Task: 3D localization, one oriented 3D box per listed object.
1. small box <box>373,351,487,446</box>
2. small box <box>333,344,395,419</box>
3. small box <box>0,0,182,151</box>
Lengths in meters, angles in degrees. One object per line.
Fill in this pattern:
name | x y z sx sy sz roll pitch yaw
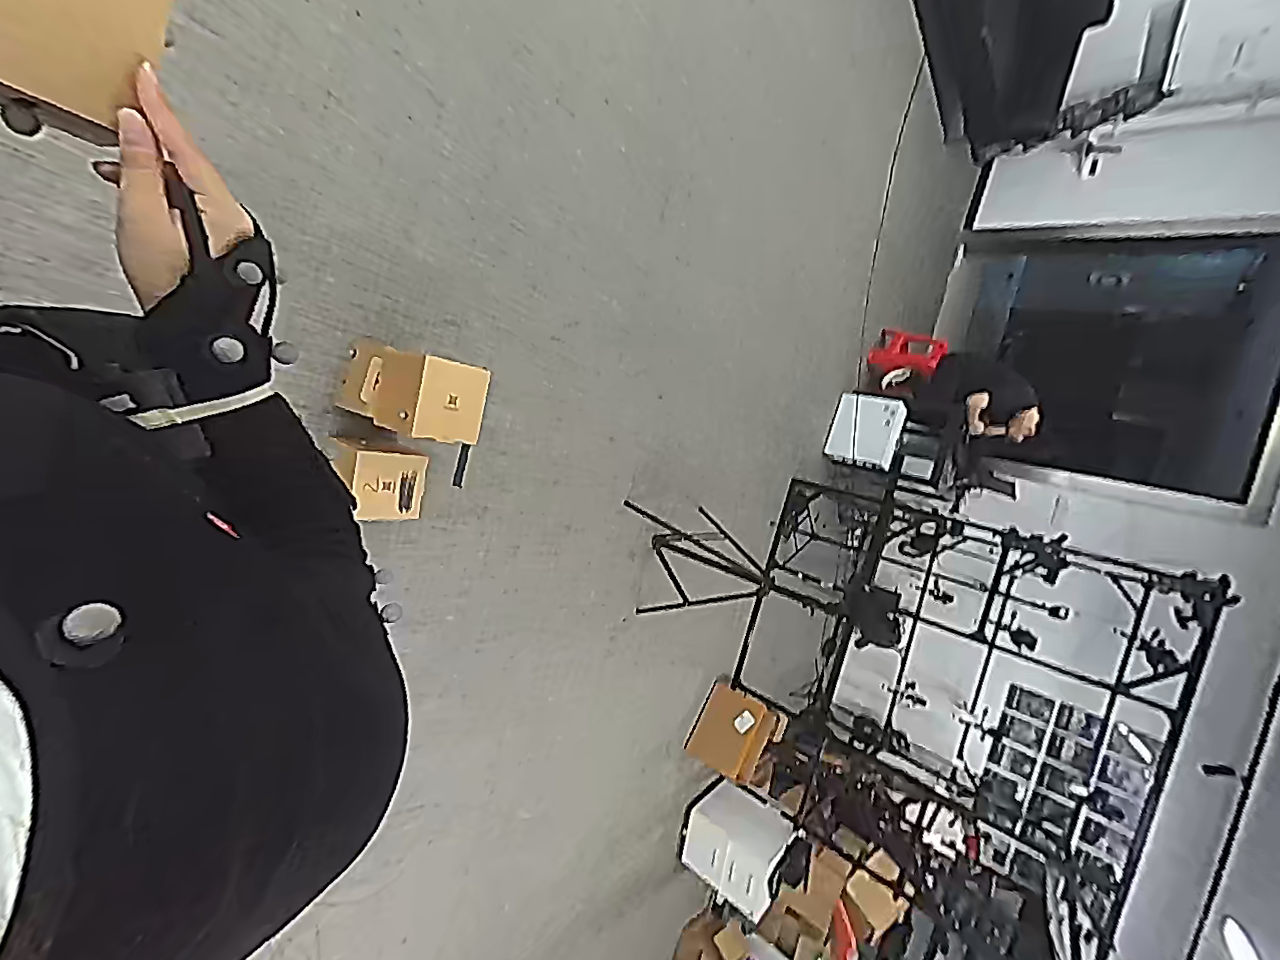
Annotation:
small box | -0.480 -0.187 1.227 0.168 0.176 0.179 5 100 -53
small box | -0.610 -0.224 1.317 0.179 0.176 0.168 18 89 -54
small box | -0.363 -0.299 0.274 0.179 0.176 0.168 6 105 -53
